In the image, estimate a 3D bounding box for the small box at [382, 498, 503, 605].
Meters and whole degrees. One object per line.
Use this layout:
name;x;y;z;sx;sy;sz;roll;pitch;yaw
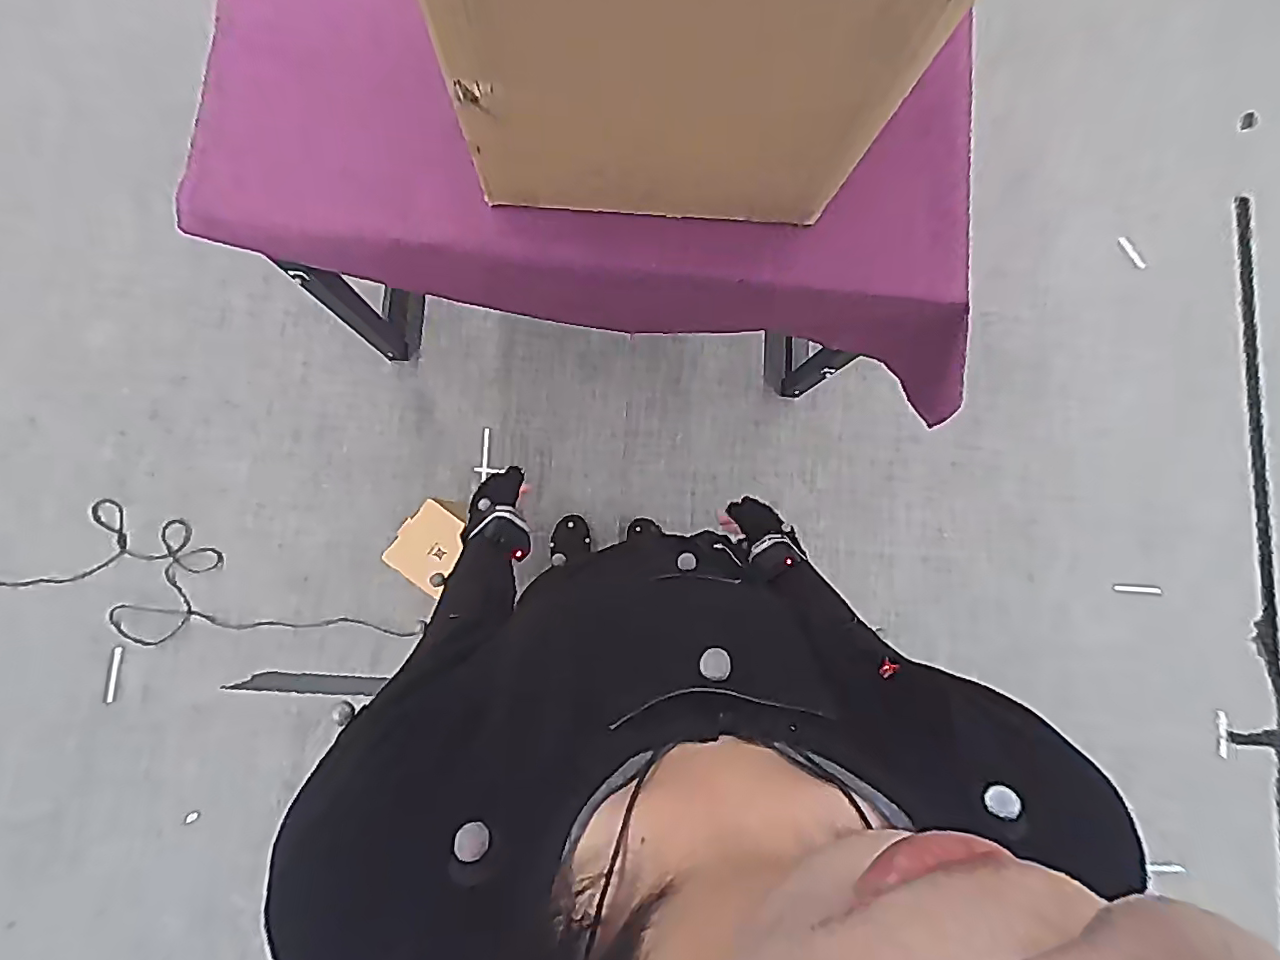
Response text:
small box;-0.441;0.162;1.235;0.179;0.176;0.168;37;82;-1

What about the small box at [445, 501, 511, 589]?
small box;-0.459;0.174;1.398;0.179;0.176;0.168;35;83;-2
